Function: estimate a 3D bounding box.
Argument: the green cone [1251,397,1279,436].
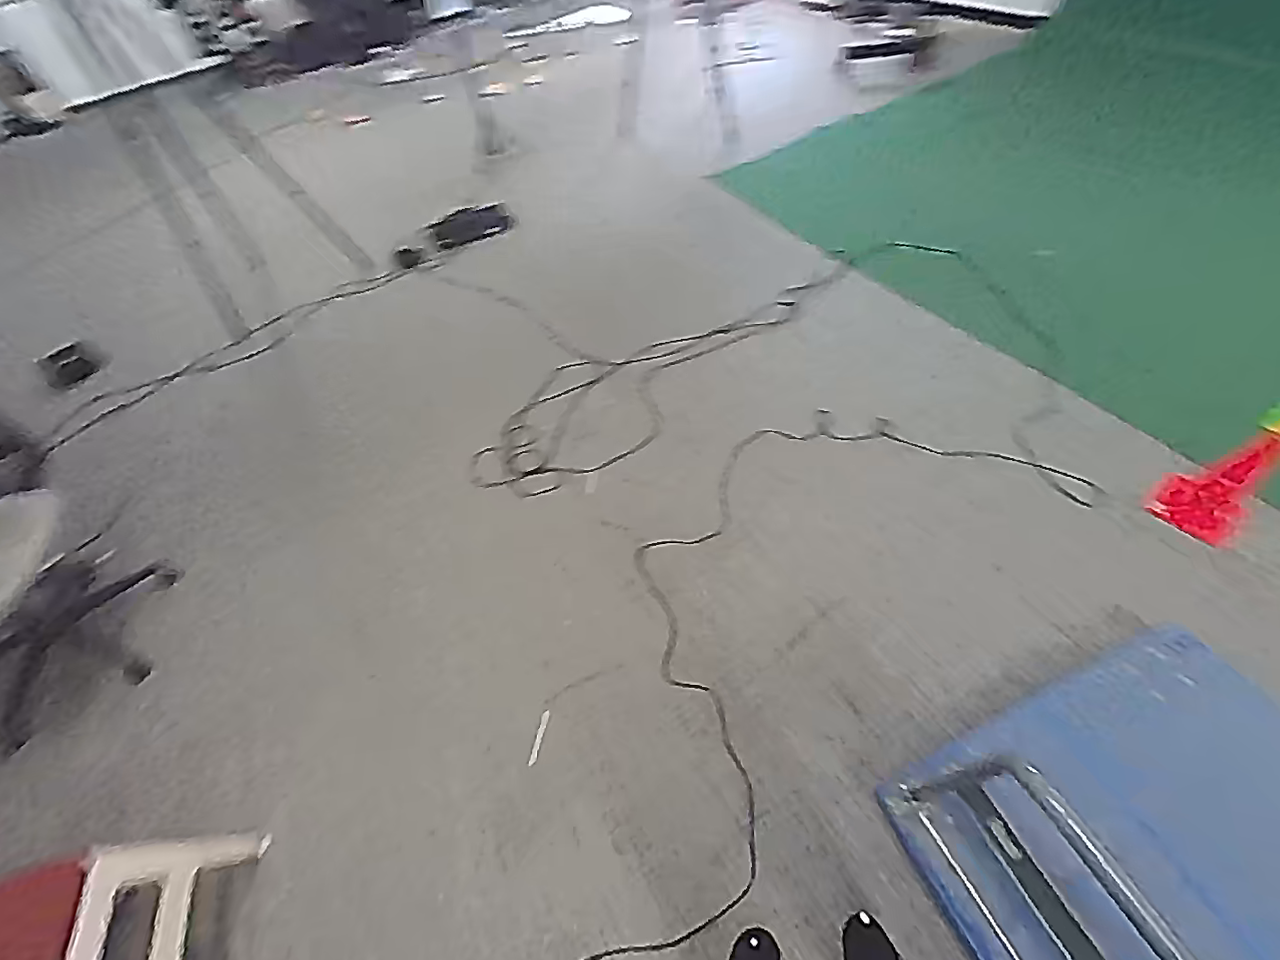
[{"bbox_3d":[2.138,-0.287,1.632,0.202,0.368,0.200,-30,53,-14],"label":"green cone"}]
